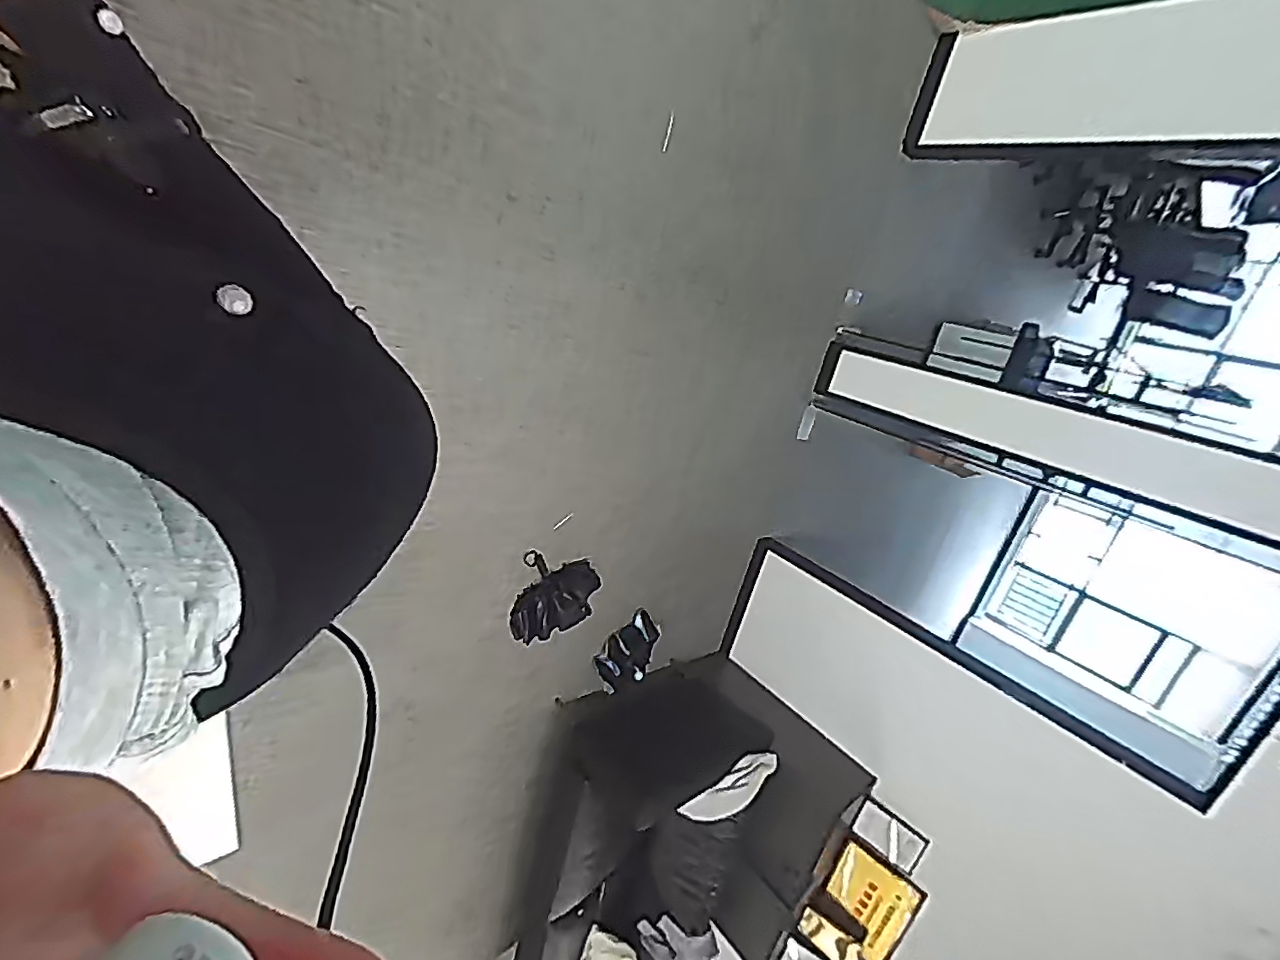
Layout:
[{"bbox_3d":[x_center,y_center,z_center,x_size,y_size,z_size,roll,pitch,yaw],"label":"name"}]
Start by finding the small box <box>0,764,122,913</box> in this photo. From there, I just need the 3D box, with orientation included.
[{"bbox_3d":[-0.893,0.569,0.798,0.168,0.176,0.179,-13,123,-40],"label":"small box"}]
